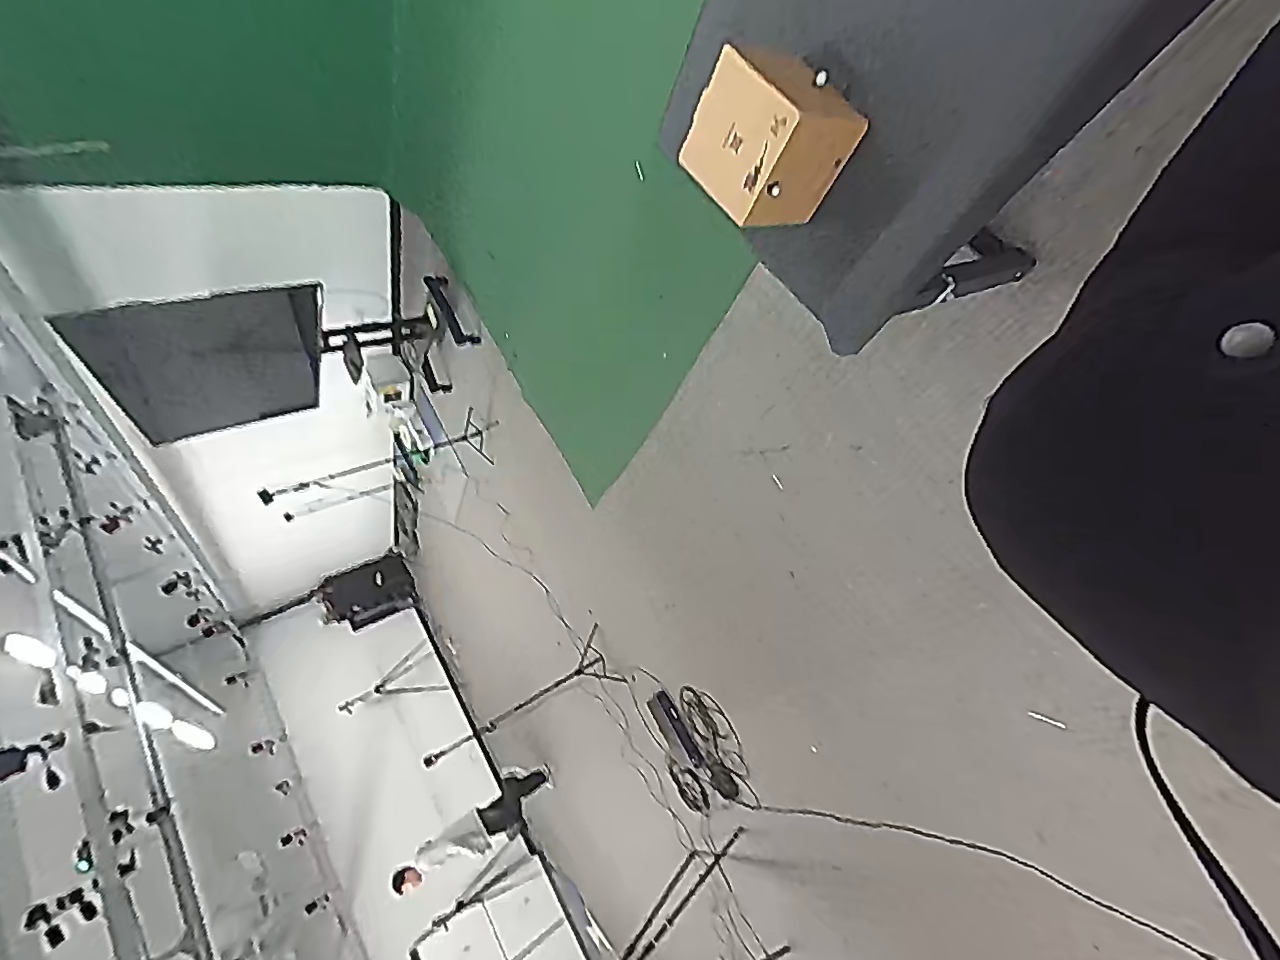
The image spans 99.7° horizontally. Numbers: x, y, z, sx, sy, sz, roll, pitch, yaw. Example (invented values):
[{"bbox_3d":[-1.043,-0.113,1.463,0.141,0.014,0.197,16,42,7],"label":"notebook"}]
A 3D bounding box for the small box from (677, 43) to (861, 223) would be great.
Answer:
[{"bbox_3d":[0.193,-0.521,0.829,0.179,0.176,0.168,56,146,18],"label":"small box"}]
